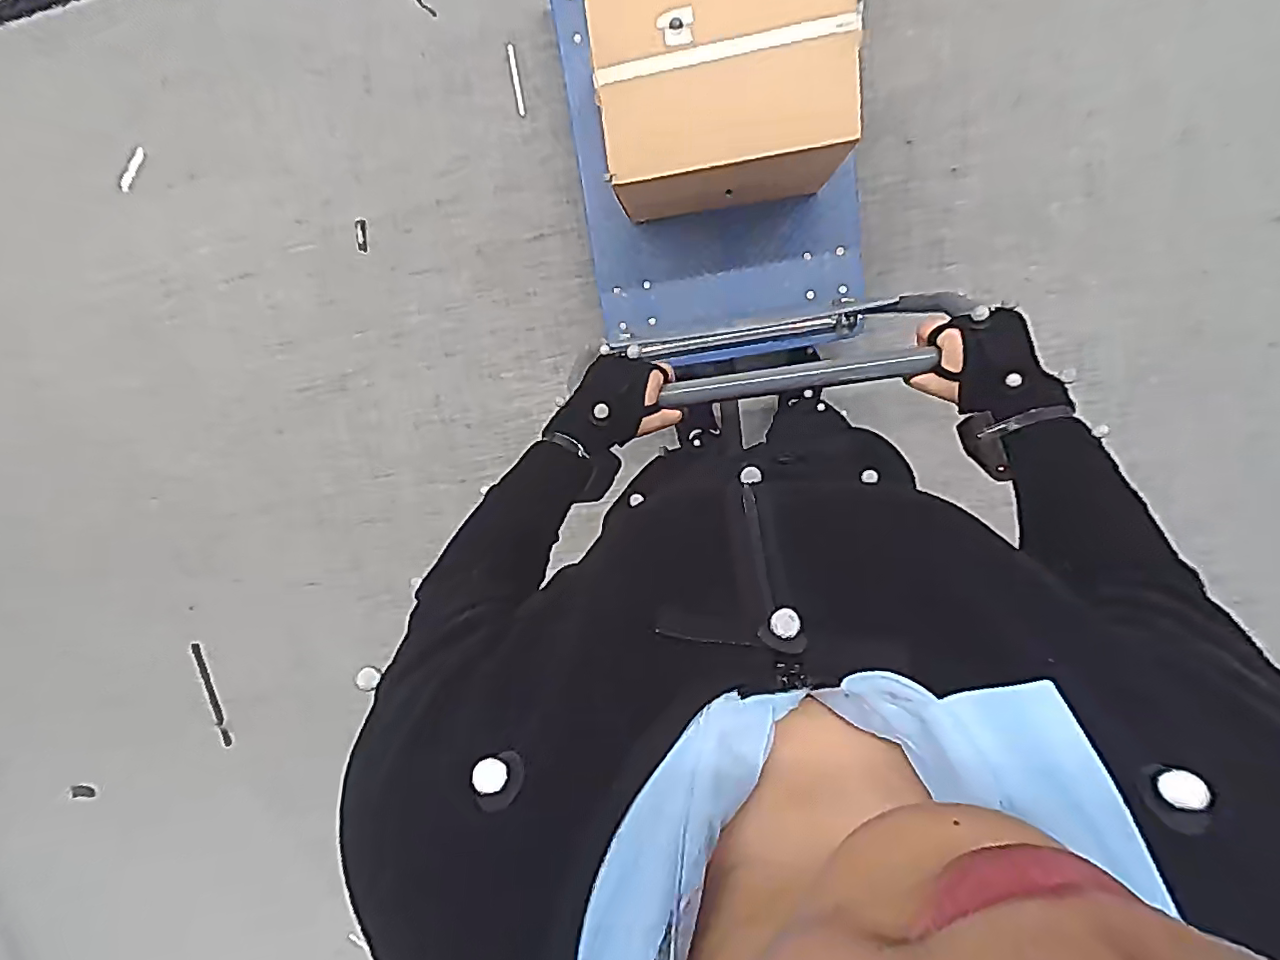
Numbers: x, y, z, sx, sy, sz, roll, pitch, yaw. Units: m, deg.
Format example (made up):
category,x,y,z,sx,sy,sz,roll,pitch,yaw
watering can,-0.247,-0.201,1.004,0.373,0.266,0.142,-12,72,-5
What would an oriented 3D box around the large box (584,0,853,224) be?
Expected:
category,x,y,z,sx,sy,sz,roll,pitch,yaw
large box,0.145,-0.704,1.007,0.408,0.320,0.320,-7,102,8
